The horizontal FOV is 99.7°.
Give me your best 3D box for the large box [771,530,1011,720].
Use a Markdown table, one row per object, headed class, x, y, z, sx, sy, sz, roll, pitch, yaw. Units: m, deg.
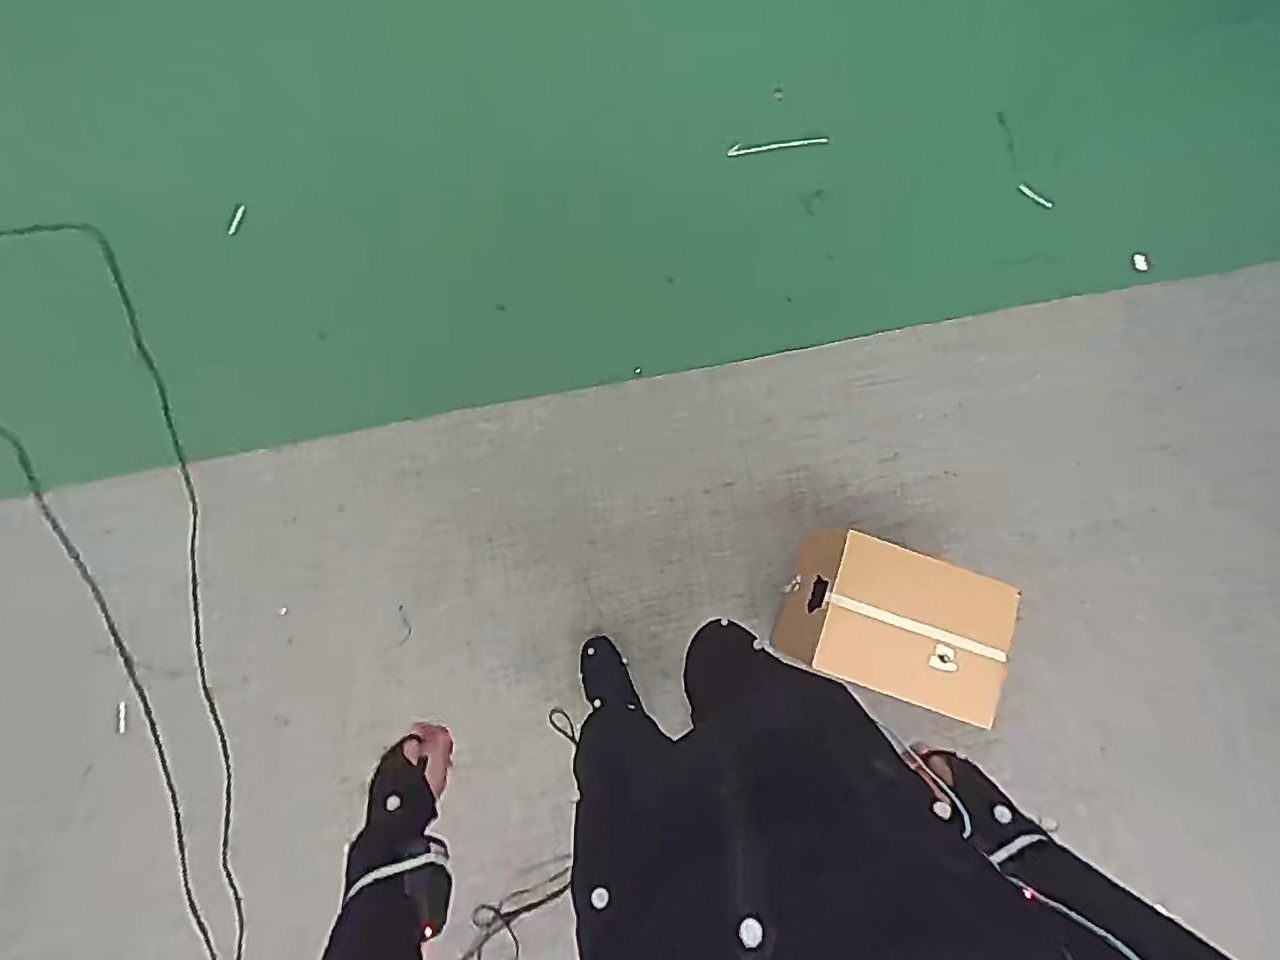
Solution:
| class | x | y | z | sx | sy | sz | roll | pitch | yaw |
| --- | --- | --- | --- | --- | --- | --- | --- | --- | --- |
| large box | 0.583 | 0.337 | 1.319 | 0.408 | 0.320 | 0.320 | 19 | 80 | 0 |
